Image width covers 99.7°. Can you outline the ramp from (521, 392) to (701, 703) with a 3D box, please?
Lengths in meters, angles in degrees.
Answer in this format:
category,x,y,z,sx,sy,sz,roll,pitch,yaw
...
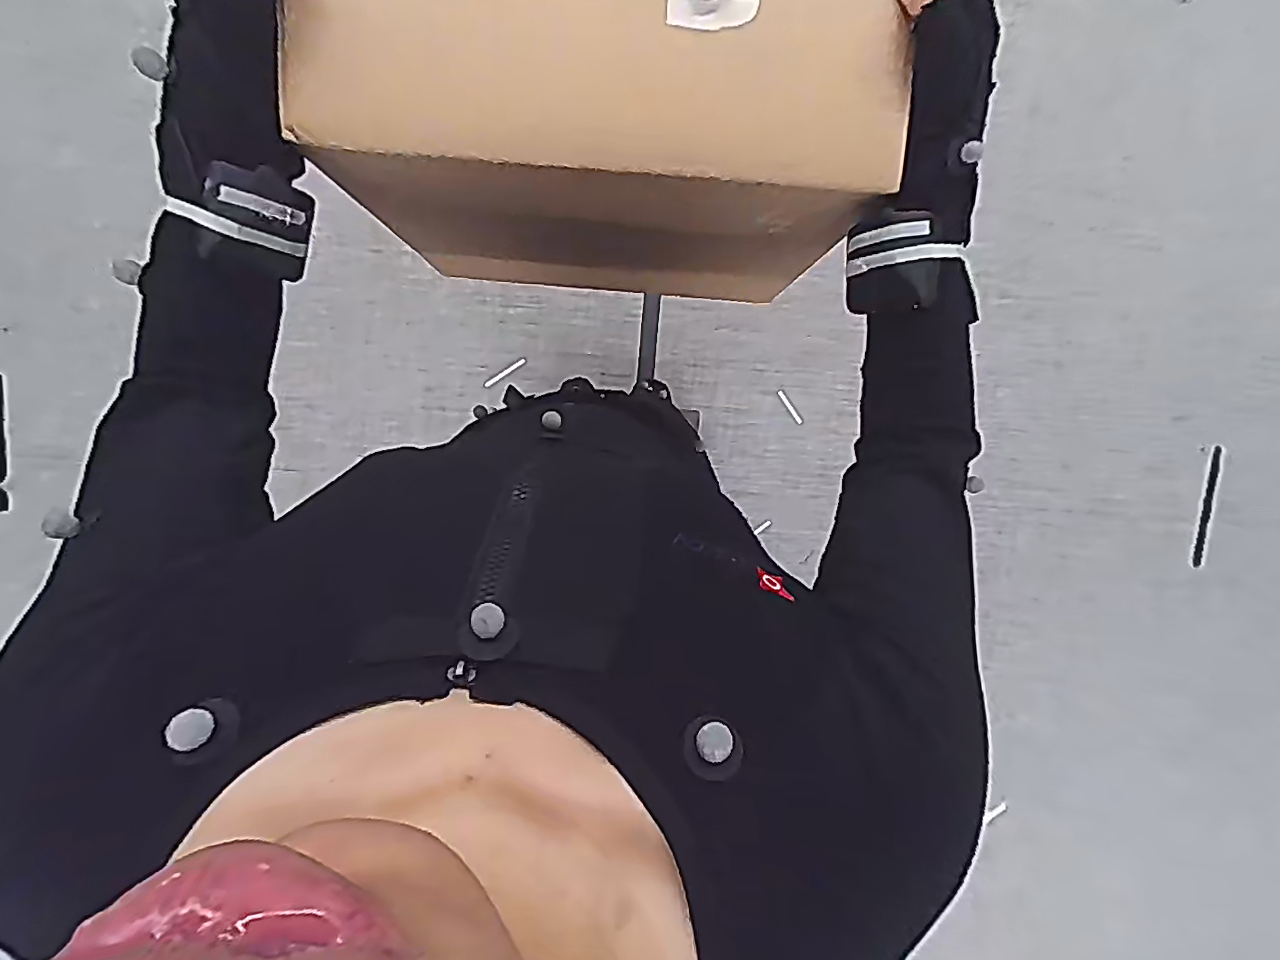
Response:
category,x,y,z,sx,sy,sz,roll,pitch,yaw
ramp,-0.104,0.246,1.605,0.509,0.206,0.991,1,98,-3

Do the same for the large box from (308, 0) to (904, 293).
category,x,y,z,sx,sy,sz,roll,pitch,yaw
large box,-0.023,-0.378,0.506,0.408,0.320,0.320,3,95,-3
